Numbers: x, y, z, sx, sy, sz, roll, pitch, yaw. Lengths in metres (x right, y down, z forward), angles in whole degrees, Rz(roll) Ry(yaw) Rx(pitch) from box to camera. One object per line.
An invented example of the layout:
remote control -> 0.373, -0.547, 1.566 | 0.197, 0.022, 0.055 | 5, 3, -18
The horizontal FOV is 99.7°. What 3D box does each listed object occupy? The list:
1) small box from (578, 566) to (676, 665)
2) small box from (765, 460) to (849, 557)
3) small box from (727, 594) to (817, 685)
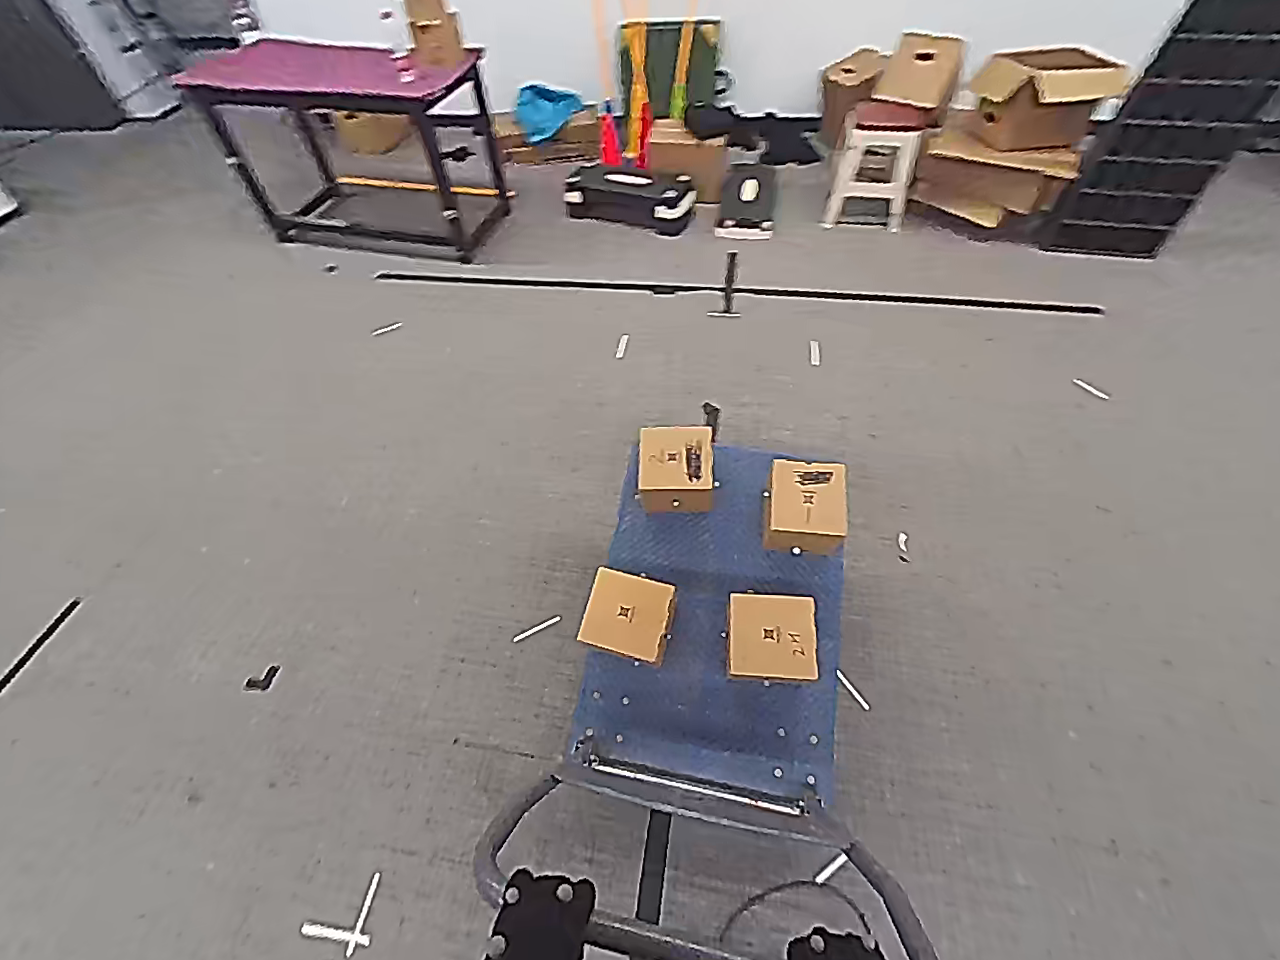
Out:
small box -> -0.021, 0.314, 1.231 | 0.179, 0.176, 0.168 | 14, 69, 10
small box -> 0.393, 0.072, 1.291 | 0.168, 0.176, 0.179 | 5, 69, 8
small box -> 0.281, 0.353, 1.182 | 0.179, 0.176, 0.168 | 2, 67, 7
